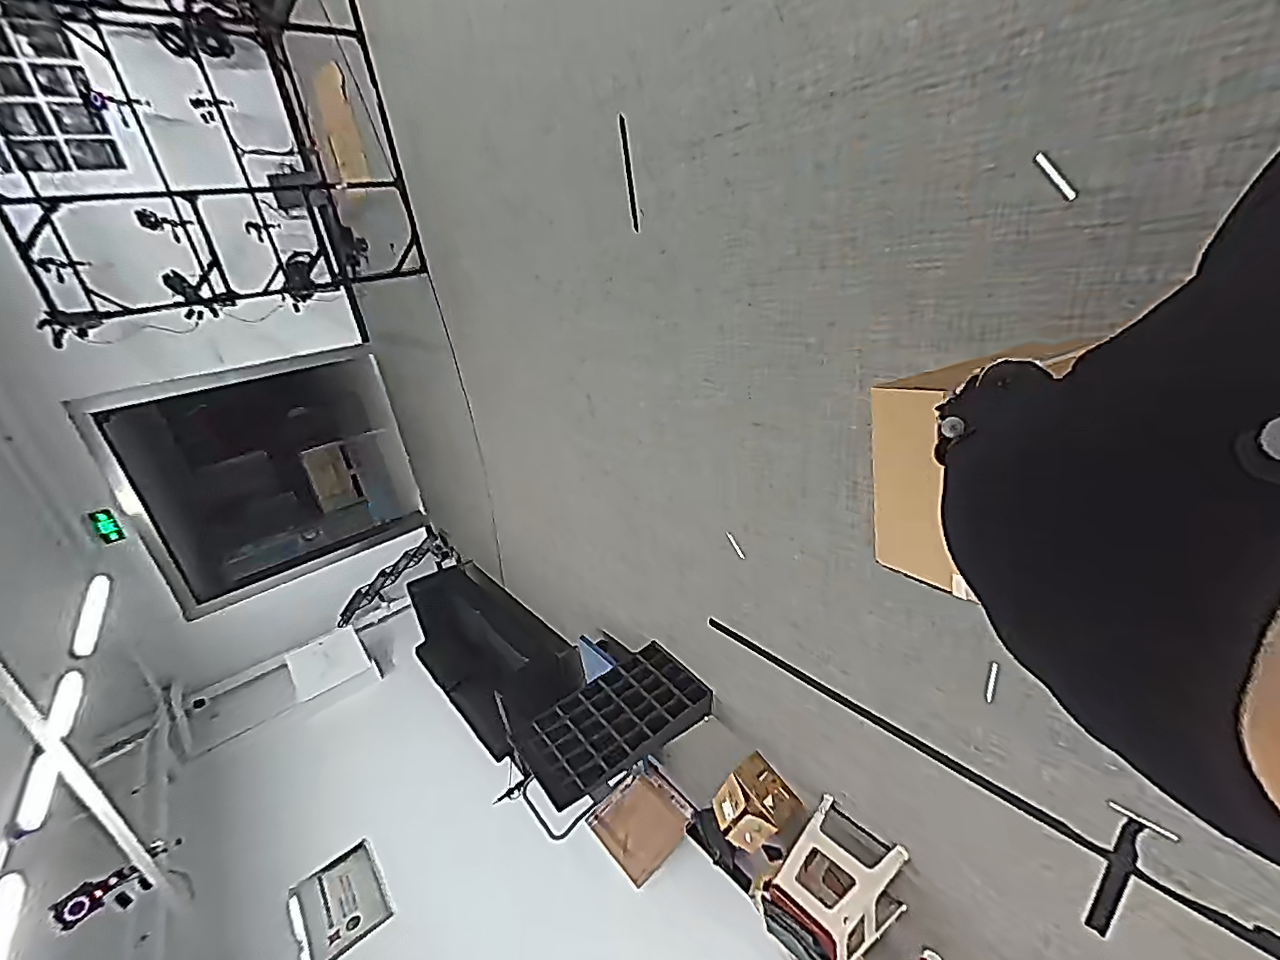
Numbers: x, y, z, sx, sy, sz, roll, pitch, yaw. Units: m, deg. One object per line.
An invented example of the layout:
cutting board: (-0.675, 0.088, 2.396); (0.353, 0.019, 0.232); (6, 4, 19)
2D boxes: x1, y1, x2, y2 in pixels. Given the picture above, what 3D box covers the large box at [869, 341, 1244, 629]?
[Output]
large box: (0.625, -0.027, 0.847); (0.320, 0.408, 0.320); (22, 125, 62)
